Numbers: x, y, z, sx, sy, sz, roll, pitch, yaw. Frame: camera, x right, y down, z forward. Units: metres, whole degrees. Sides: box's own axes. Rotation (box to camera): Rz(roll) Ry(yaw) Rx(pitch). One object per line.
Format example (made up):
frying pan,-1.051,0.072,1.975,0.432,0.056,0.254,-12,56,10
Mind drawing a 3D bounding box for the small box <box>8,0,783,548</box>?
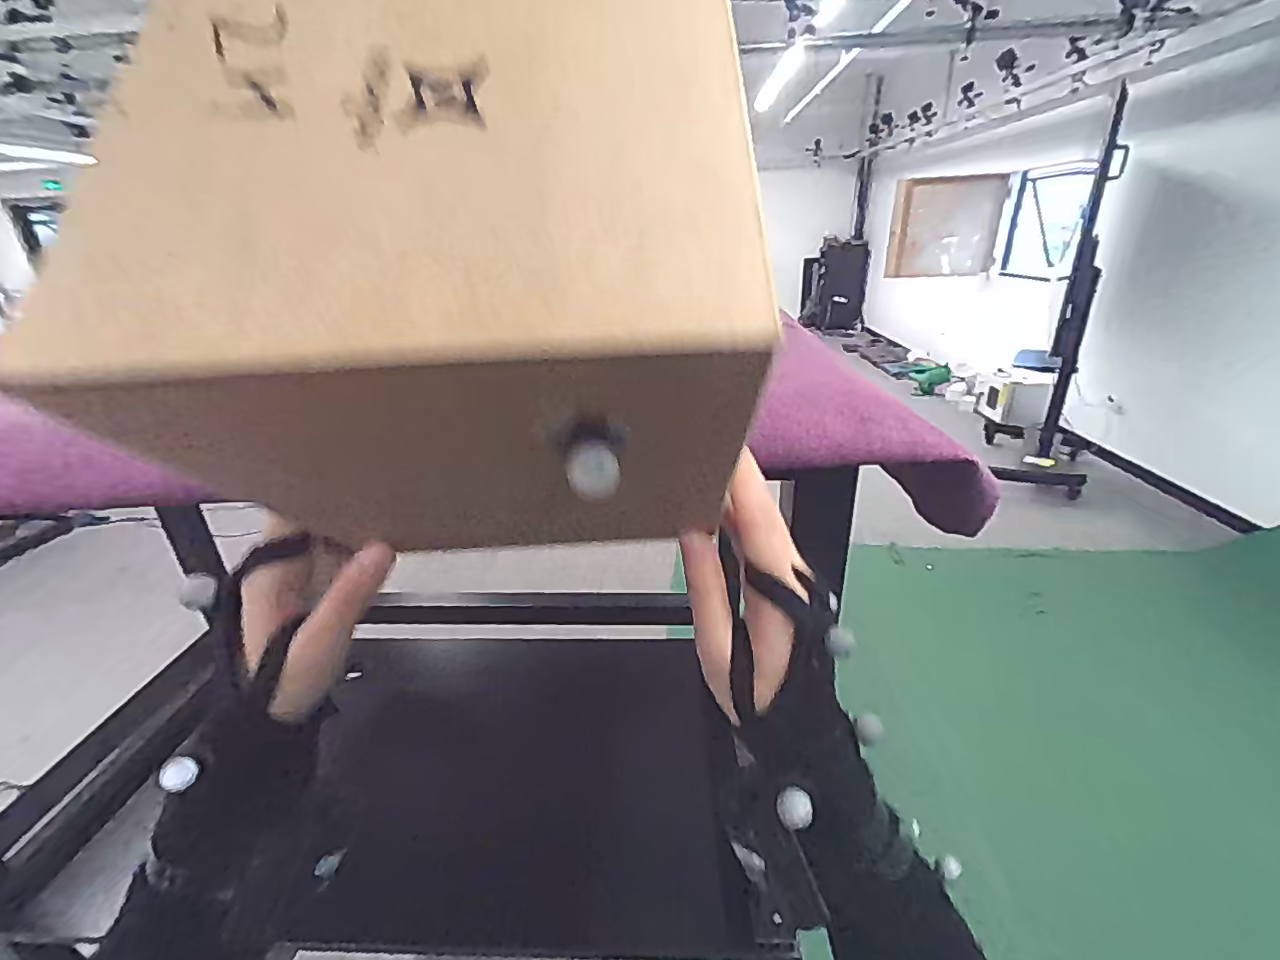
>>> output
small box,-0.054,-0.072,0.221,0.179,0.176,0.168,-3,69,2
